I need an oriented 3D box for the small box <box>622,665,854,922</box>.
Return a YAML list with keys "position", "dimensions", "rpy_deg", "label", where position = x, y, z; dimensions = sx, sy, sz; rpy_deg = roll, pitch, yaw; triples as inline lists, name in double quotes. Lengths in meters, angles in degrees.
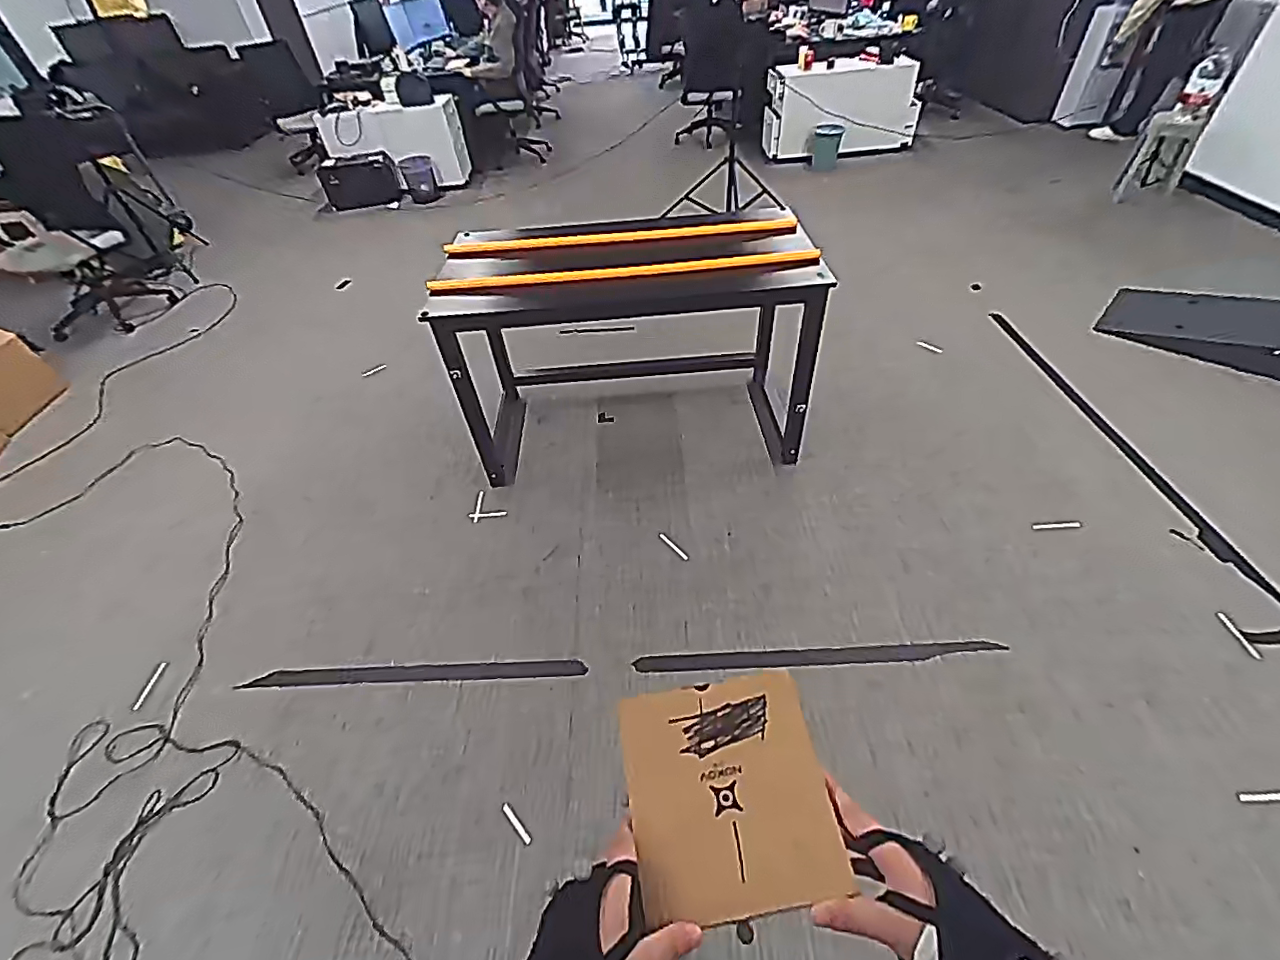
- position: [0.081, 0.307, 0.526]
  dimensions: [0.168, 0.176, 0.179]
  rpy_deg: [-11, 50, 0]
  label: "small box"
